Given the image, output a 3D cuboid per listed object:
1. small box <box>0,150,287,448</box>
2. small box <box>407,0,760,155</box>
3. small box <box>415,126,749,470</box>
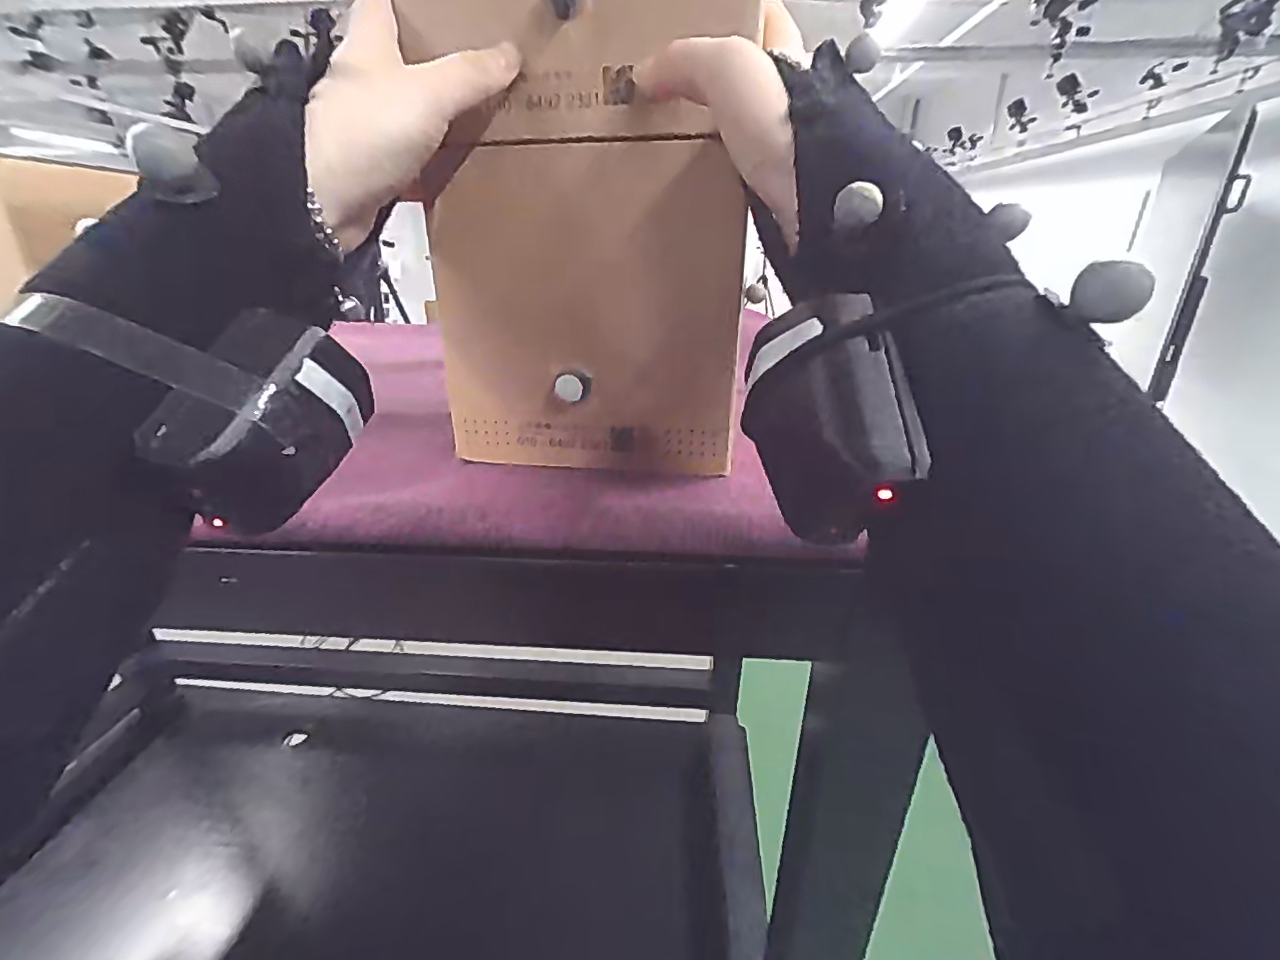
[{"bbox_3d":[-0.401,-0.133,0.400,0.168,0.176,0.179,4,23,8],"label":"small box"},{"bbox_3d":[-0.018,-0.271,0.294,0.168,0.176,0.179,3,24,10],"label":"small box"},{"bbox_3d":[-0.018,-0.119,0.359,0.168,0.176,0.179,3,25,10],"label":"small box"}]
